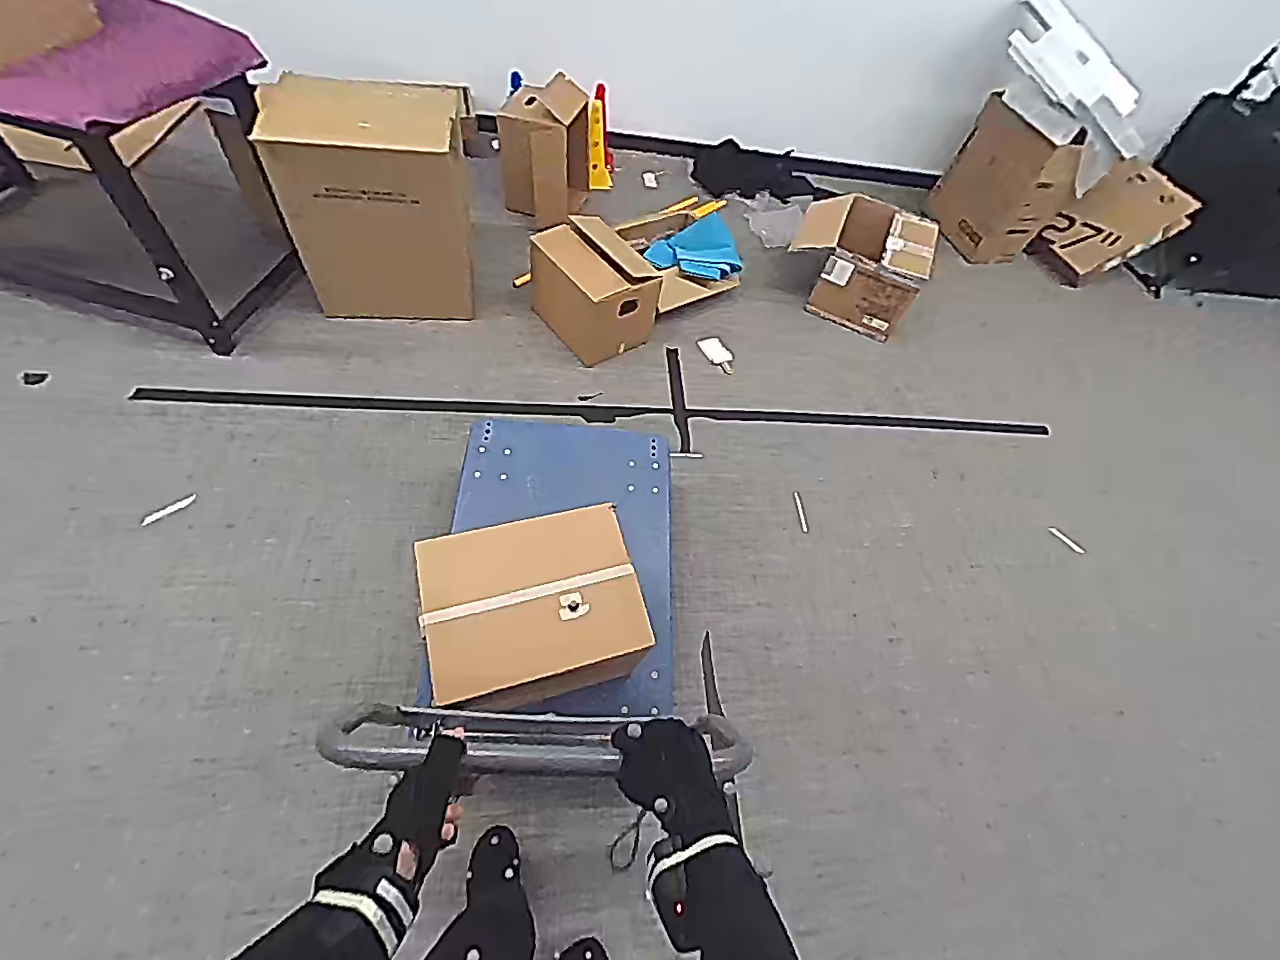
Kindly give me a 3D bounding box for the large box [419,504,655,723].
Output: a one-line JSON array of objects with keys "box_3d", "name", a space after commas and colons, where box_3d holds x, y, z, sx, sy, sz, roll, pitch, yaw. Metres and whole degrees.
[{"box_3d": [-0.226, 0.292, 1.173, 0.408, 0.320, 0.320, -11, 64, -17], "name": "large box"}]
